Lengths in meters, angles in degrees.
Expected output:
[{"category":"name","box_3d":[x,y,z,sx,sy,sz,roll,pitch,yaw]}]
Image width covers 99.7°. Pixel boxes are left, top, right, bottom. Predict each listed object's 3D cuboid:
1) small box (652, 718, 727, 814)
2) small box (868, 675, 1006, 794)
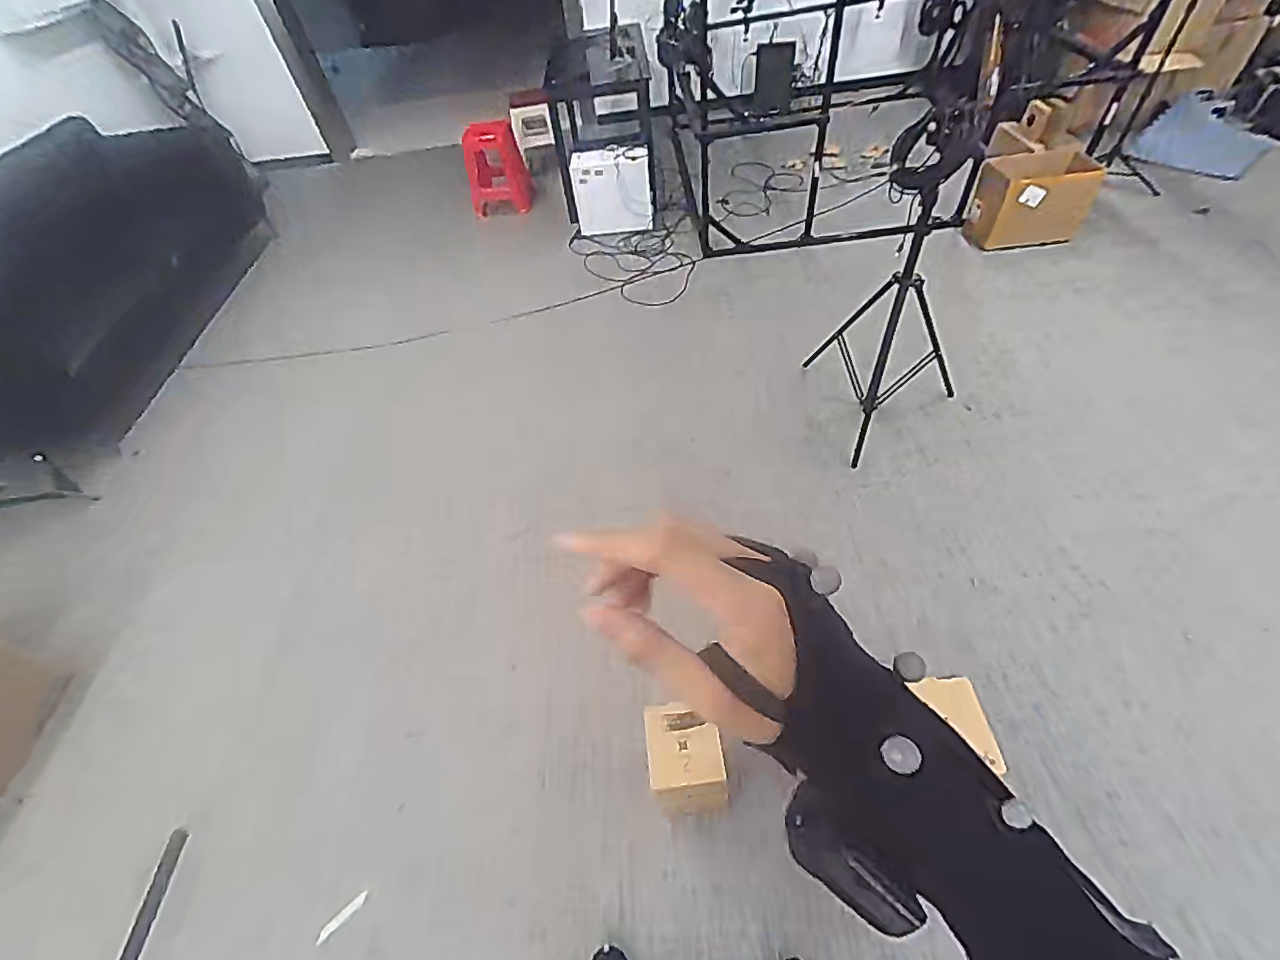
[{"category":"small box","box_3d":[0.125,0.732,1.383,0.168,0.176,0.179,-8,50,2]},{"category":"small box","box_3d":[0.576,0.509,1.079,0.168,0.176,0.179,-5,50,3]}]
